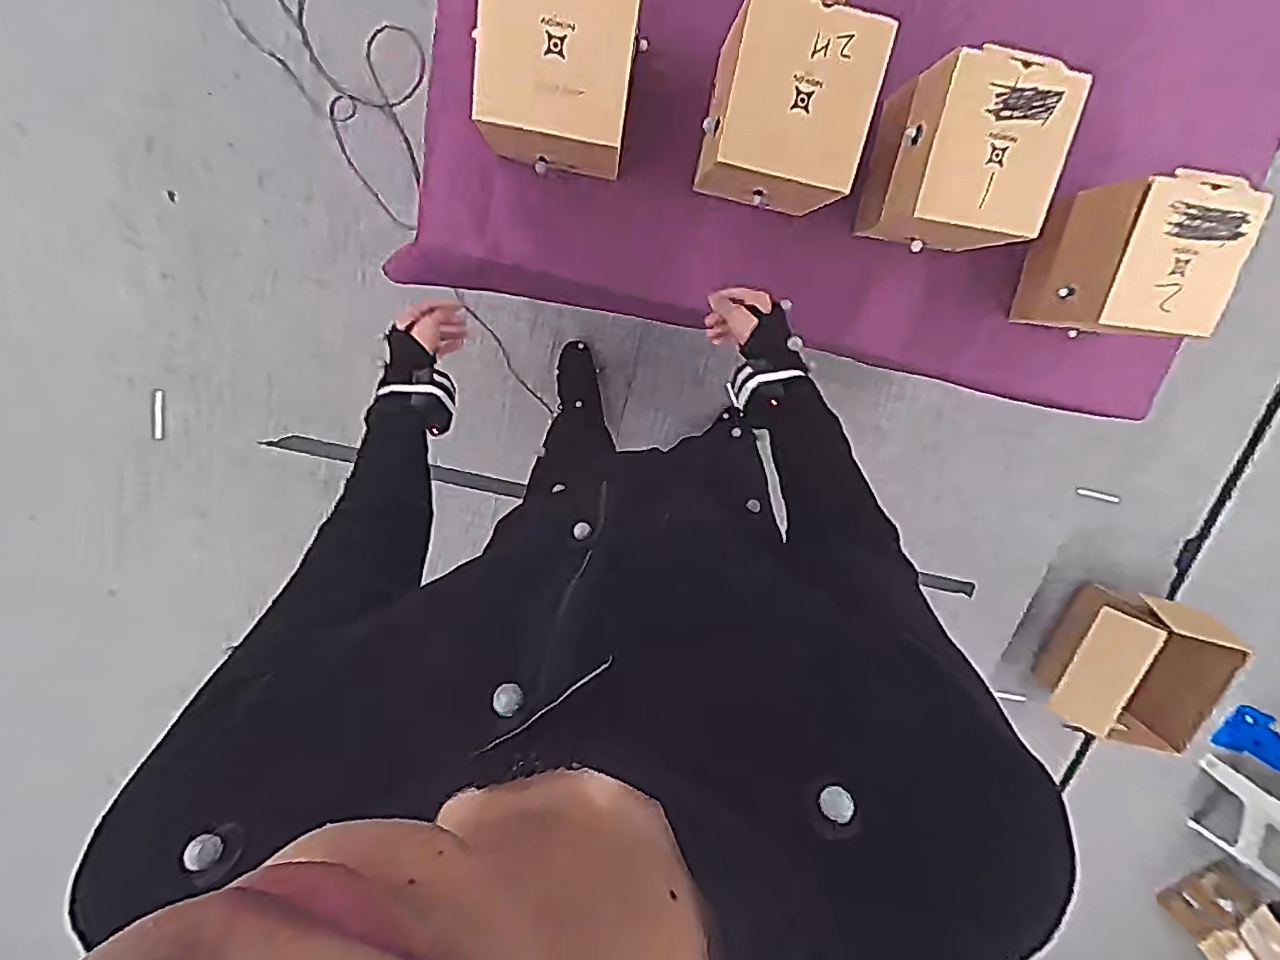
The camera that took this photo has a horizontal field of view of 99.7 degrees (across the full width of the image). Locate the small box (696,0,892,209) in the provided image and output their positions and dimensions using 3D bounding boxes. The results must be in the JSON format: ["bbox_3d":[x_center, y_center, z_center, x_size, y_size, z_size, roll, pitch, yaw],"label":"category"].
[{"bbox_3d":[0.175,-0.461,0.682,0.168,0.176,0.179,10,106,-8],"label":"small box"}]

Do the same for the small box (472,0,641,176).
[{"bbox_3d":[-0.095,-0.495,0.649,0.168,0.176,0.179,8,107,-6],"label":"small box"}]

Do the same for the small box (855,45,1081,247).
[{"bbox_3d":[0.411,-0.421,0.714,0.168,0.176,0.179,7,108,-7],"label":"small box"}]
